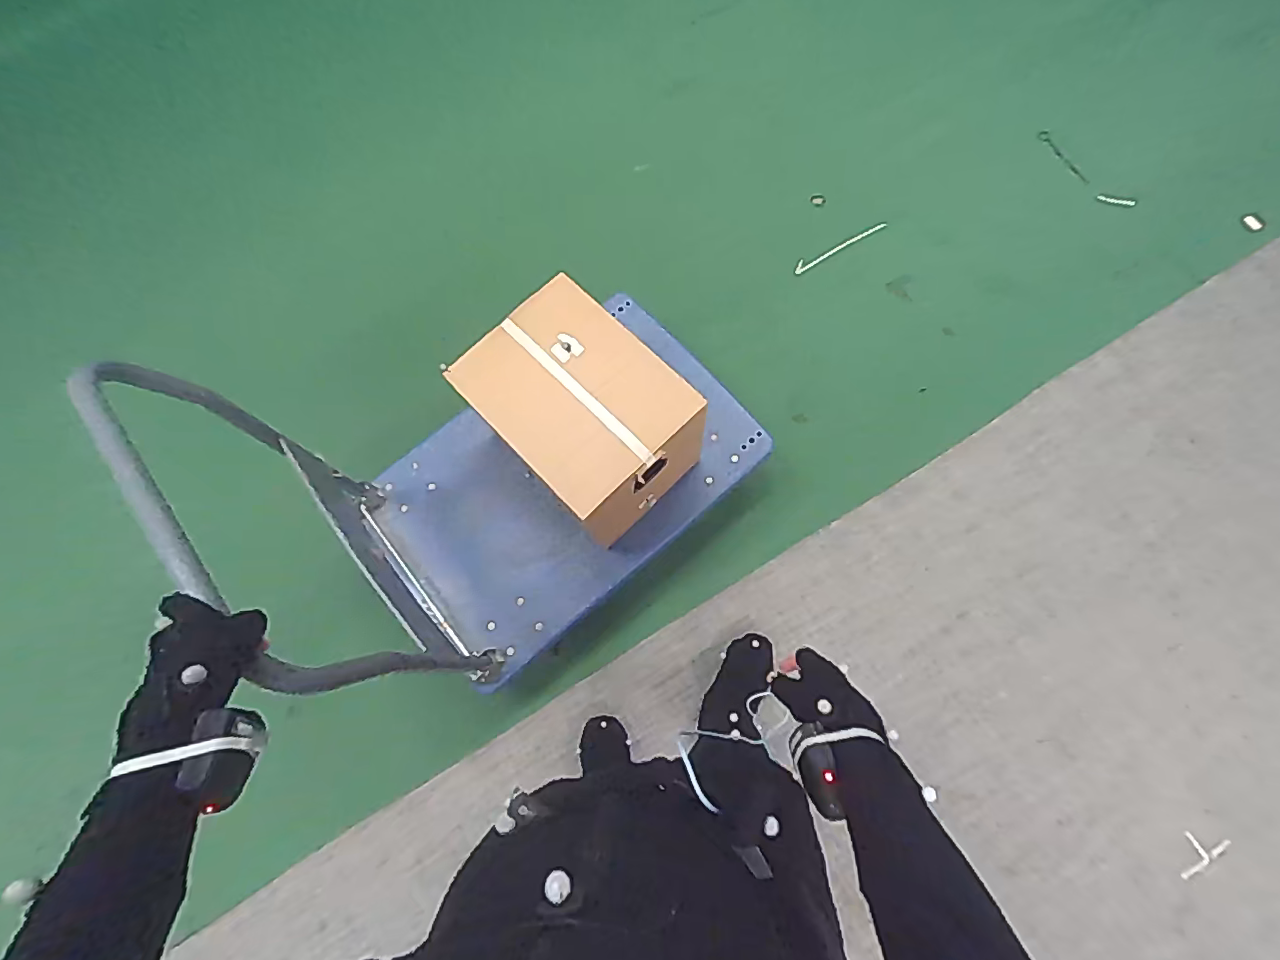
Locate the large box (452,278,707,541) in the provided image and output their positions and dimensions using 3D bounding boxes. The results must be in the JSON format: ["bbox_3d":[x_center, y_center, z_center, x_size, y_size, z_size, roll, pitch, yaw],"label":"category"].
[{"bbox_3d":[-0.106,-0.132,1.154,0.320,0.320,0.408,-44,75,-9],"label":"large box"}]
